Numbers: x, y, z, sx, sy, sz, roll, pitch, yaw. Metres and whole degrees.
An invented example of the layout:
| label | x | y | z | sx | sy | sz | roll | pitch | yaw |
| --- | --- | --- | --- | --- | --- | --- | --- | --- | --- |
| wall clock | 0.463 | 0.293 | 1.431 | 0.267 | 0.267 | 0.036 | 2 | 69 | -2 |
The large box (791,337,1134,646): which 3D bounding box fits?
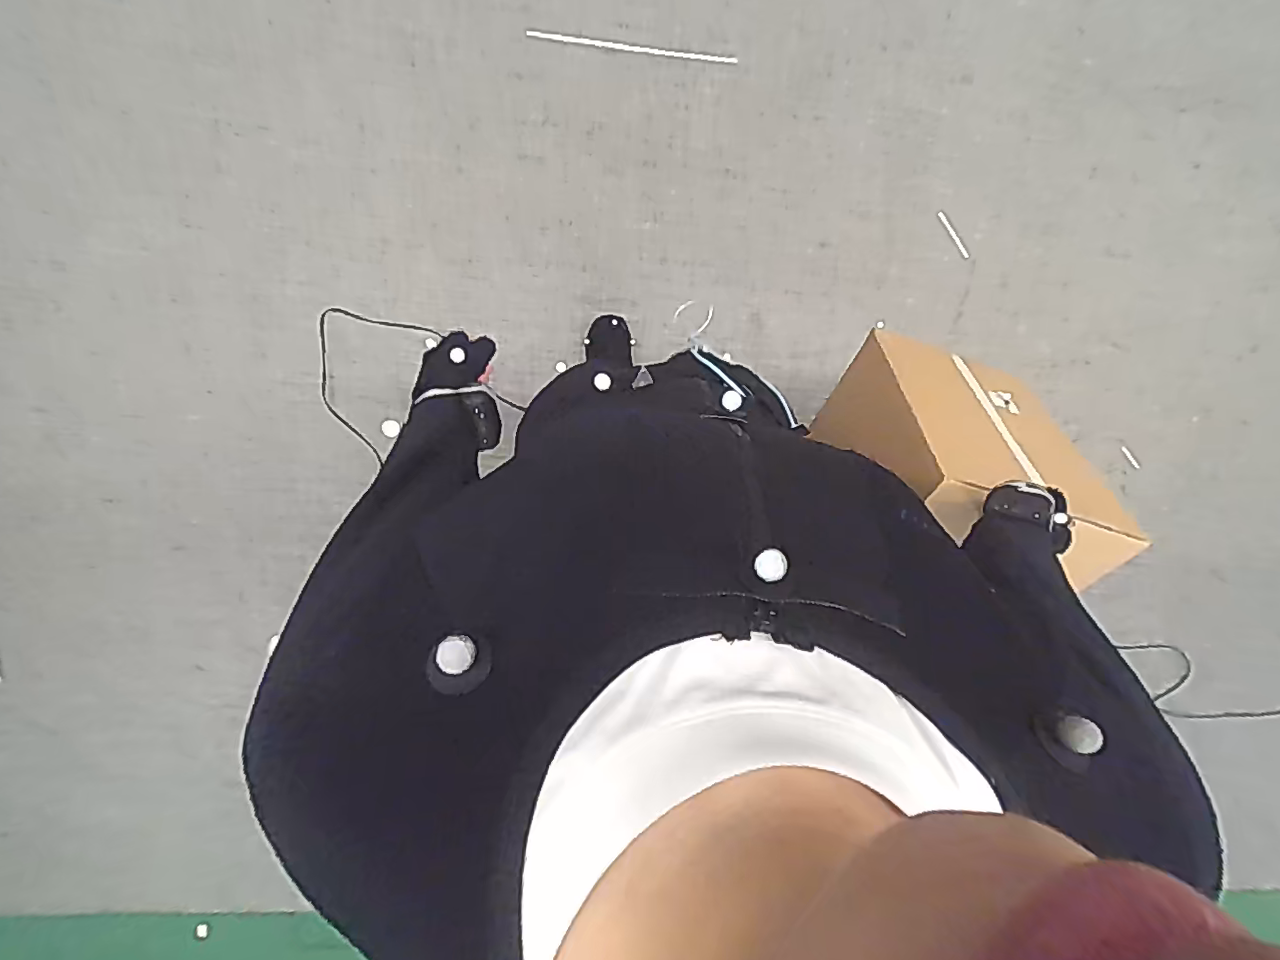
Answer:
| label | x | y | z | sx | sy | sz | roll | pitch | yaw |
| --- | --- | --- | --- | --- | --- | --- | --- | --- | --- |
| large box | 0.493 | 0.016 | 0.946 | 0.320 | 0.408 | 0.320 | 17 | 131 | -8 |
